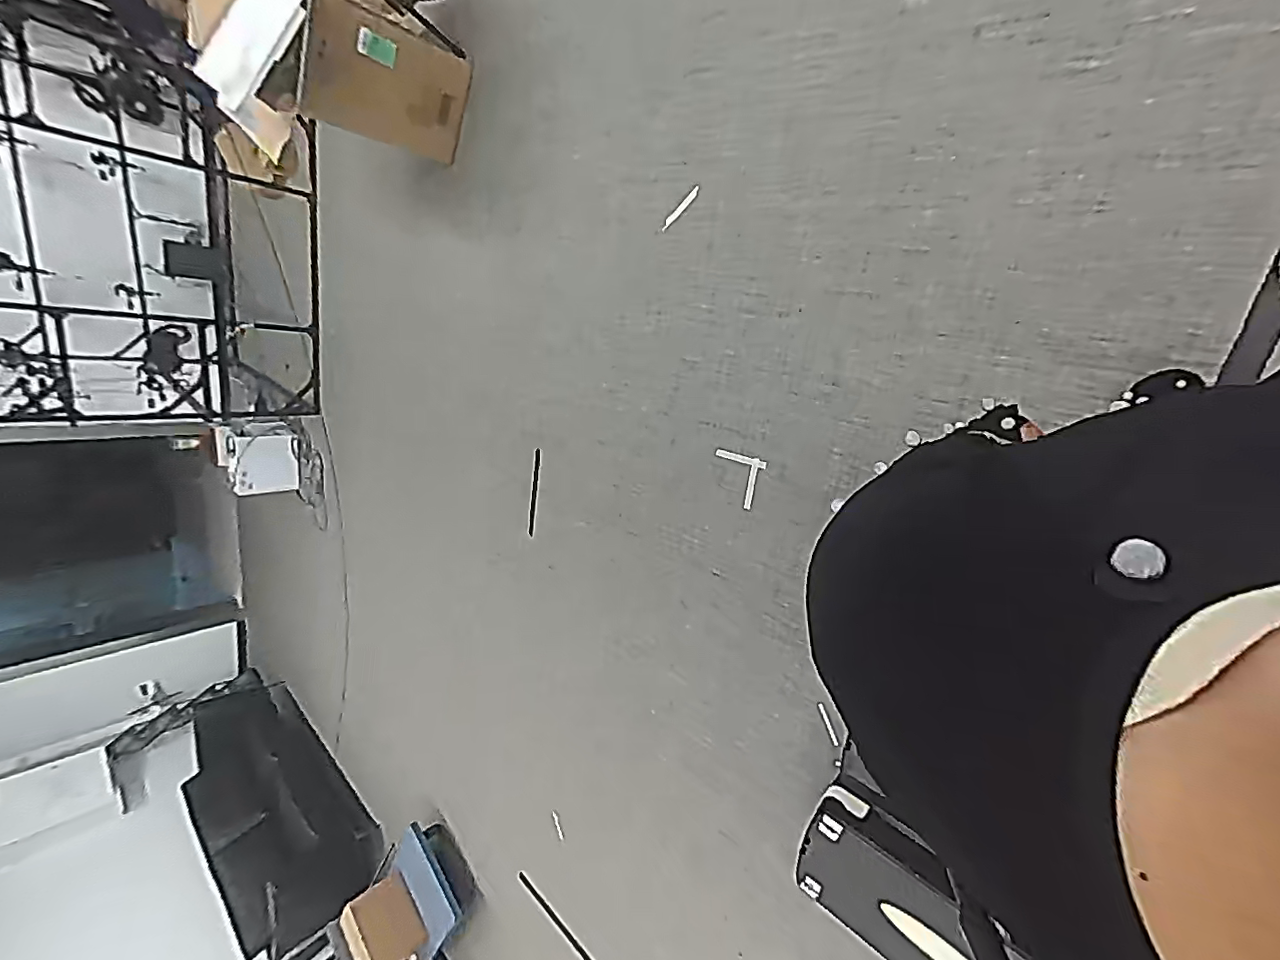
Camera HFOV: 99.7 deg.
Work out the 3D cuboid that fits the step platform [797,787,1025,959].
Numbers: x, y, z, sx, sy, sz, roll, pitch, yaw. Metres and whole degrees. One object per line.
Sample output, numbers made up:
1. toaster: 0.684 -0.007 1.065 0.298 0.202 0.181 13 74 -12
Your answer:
1. step platform: 0.716 1.080 1.247 0.684 0.204 0.286 29 114 37
